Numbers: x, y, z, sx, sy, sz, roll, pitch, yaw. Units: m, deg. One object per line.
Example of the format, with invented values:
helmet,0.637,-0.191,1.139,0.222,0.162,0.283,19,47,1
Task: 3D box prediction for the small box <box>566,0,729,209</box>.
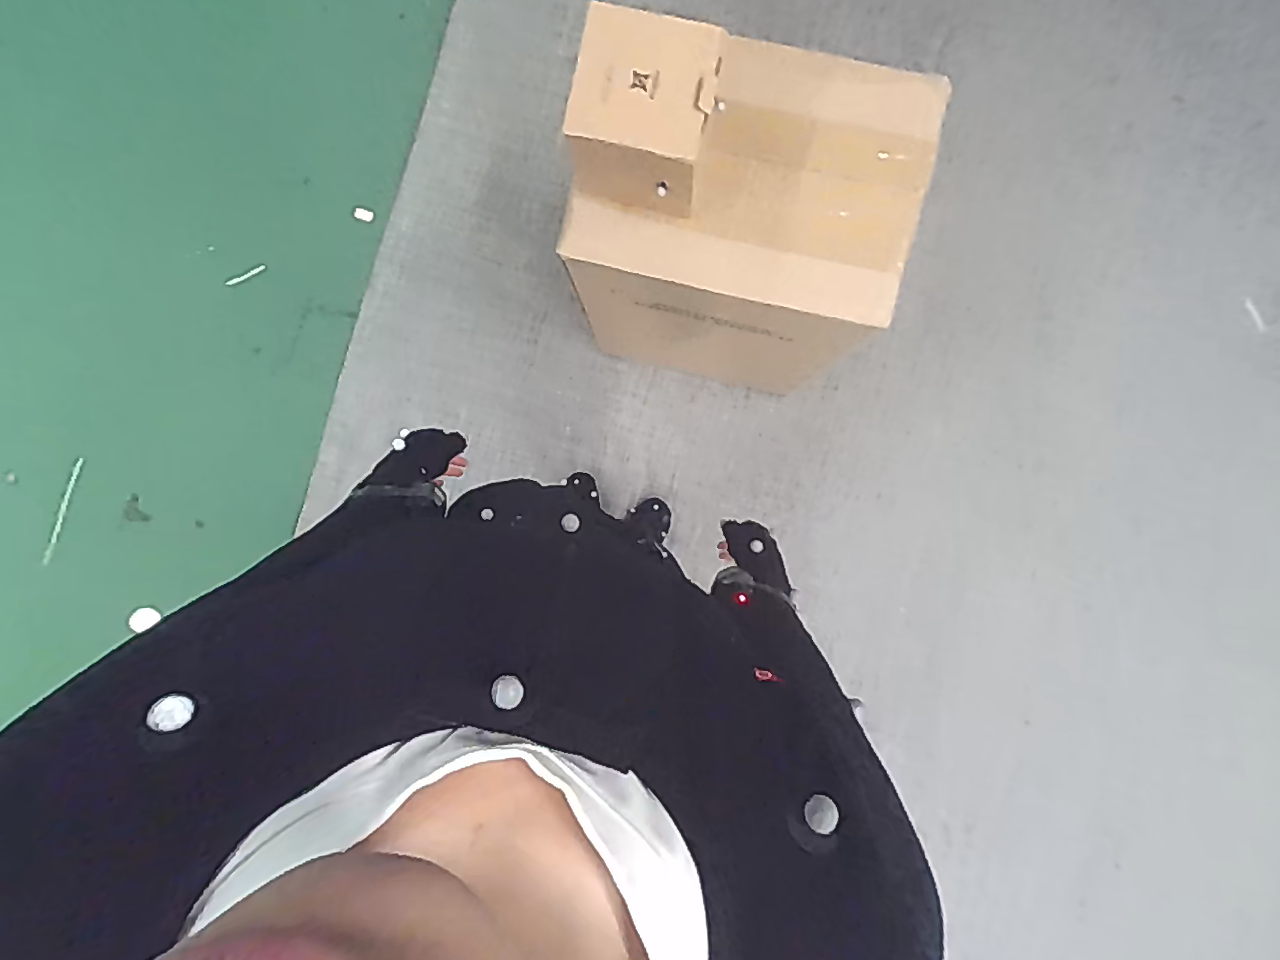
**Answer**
small box,0.013,-0.504,0.753,0.179,0.176,0.168,13,93,3
